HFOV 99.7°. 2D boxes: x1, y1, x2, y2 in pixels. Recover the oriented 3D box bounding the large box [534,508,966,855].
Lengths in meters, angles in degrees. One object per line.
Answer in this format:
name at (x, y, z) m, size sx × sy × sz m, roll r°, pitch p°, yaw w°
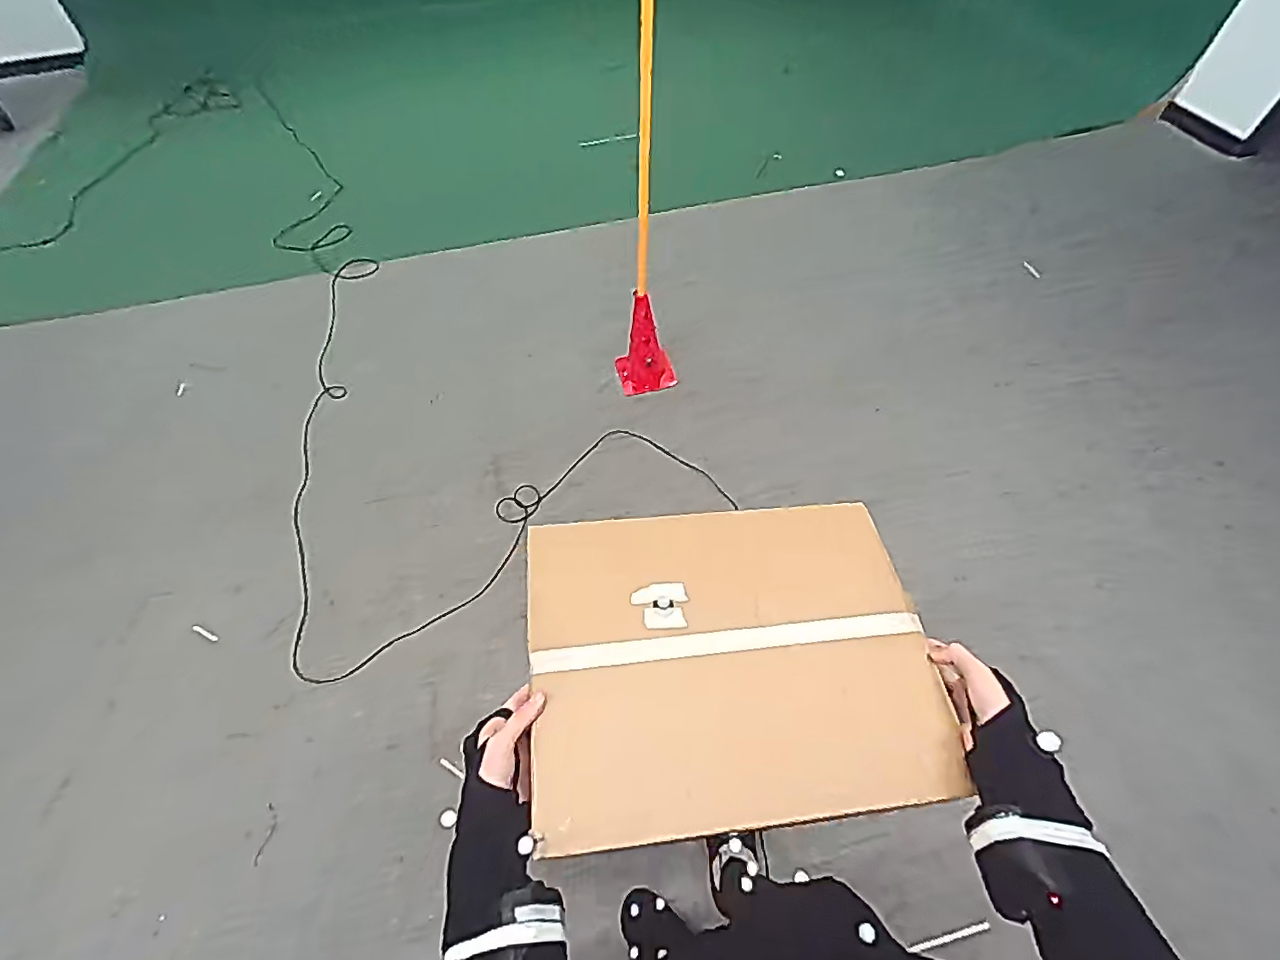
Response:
large box at (0.087, 0.257, 0.685) m, size 0.408 × 0.320 × 0.320 m, roll -4°, pitch 56°, yaw -6°
